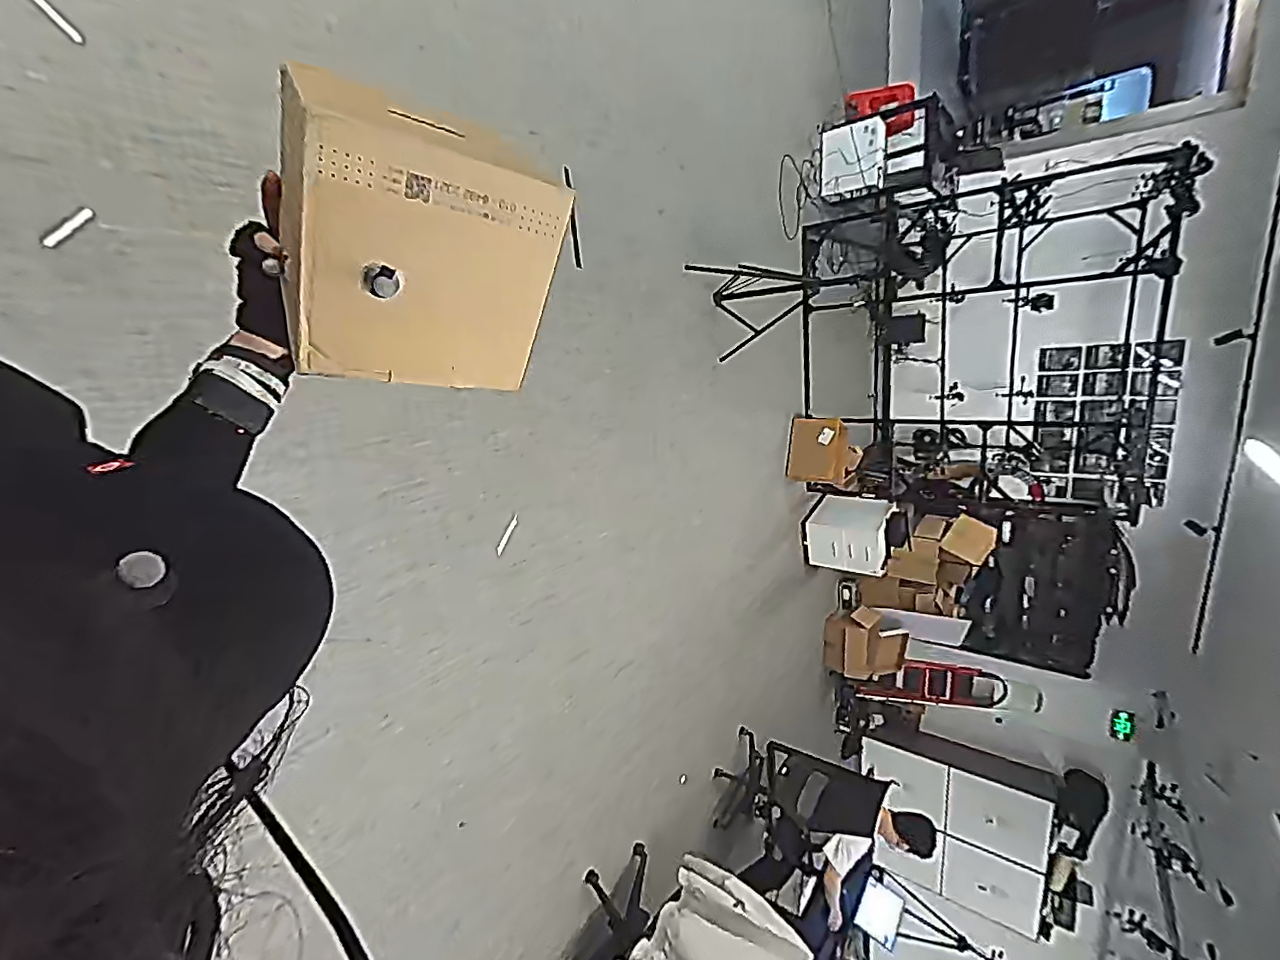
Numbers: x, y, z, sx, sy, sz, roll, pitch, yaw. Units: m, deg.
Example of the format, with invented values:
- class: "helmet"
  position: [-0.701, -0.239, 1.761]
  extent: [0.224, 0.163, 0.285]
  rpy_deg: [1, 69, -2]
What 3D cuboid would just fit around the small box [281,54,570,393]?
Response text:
- class: "small box"
  position: [-0.172, -0.191, 0.419]
  extent: [0.168, 0.179, 0.176]
  rpy_deg: [2, 129, -38]
